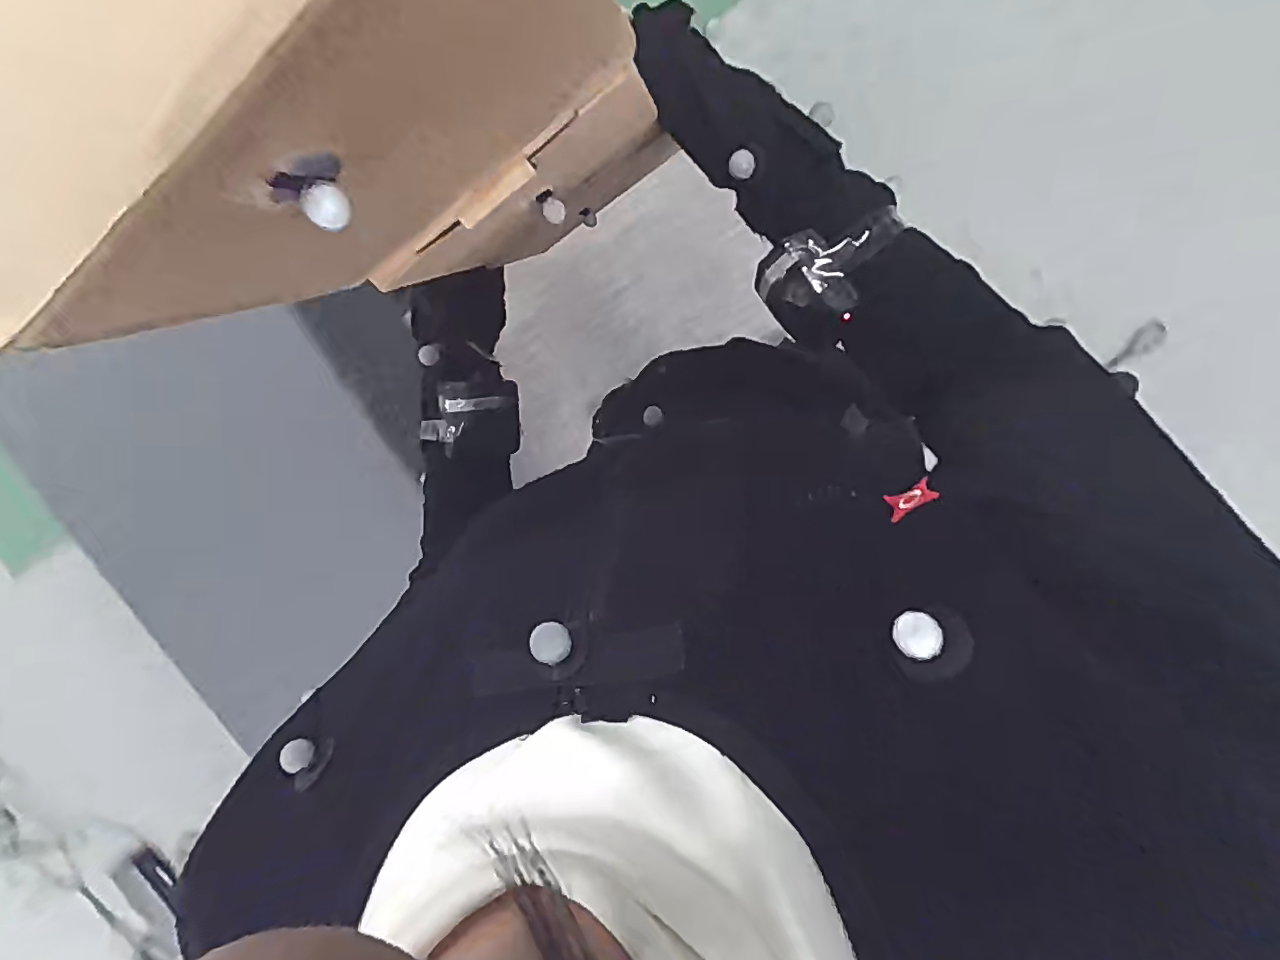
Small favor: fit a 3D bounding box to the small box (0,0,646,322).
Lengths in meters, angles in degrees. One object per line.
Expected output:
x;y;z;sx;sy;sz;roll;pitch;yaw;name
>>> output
-0.112;-0.171;0.149;0.179;0.176;0.168;-27;111;19;small box
